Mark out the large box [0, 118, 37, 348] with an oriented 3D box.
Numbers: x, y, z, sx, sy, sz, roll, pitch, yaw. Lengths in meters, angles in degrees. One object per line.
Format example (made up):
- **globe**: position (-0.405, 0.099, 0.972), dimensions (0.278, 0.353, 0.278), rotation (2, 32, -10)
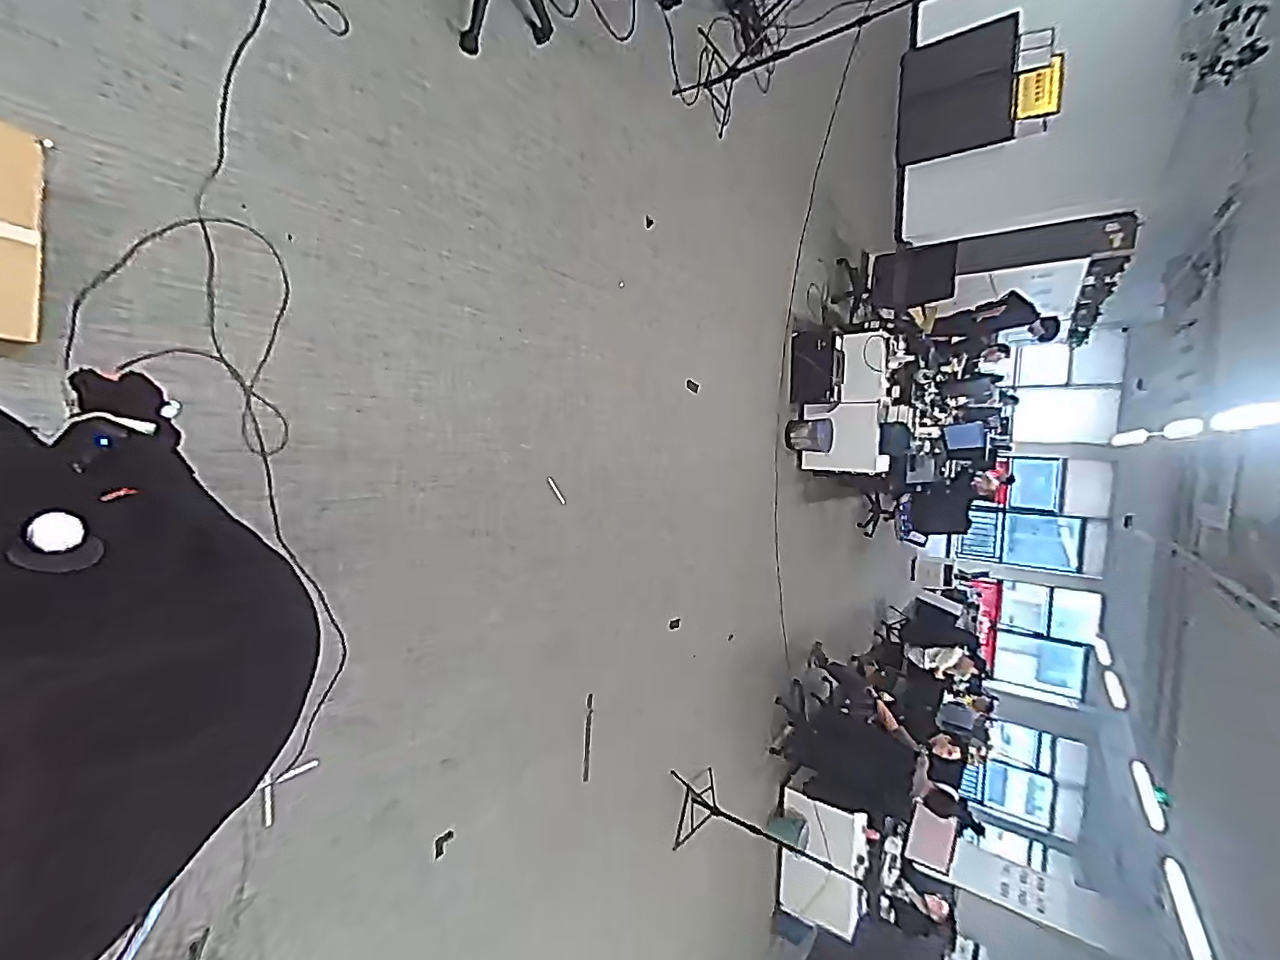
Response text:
- **large box**: position (-1.152, -0.381, 0.738), dimensions (0.408, 0.320, 0.320), rotation (1, 93, -55)
